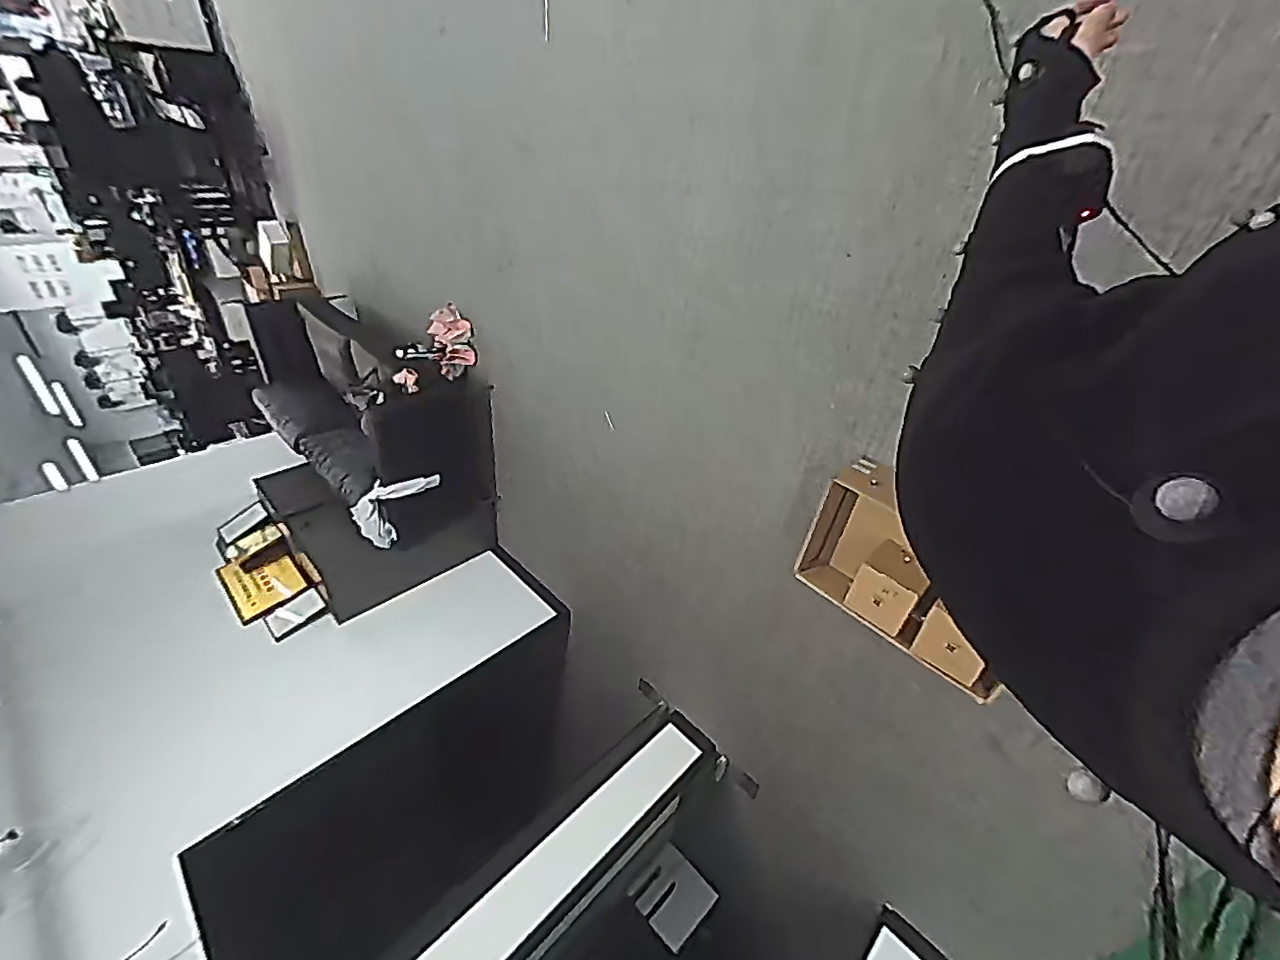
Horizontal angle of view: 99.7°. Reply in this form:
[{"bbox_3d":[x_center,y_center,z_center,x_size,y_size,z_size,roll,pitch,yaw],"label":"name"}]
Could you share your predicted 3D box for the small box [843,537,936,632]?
[{"bbox_3d":[0.732,0.302,1.582,0.168,0.176,0.179,35,133,31],"label":"small box"}]
